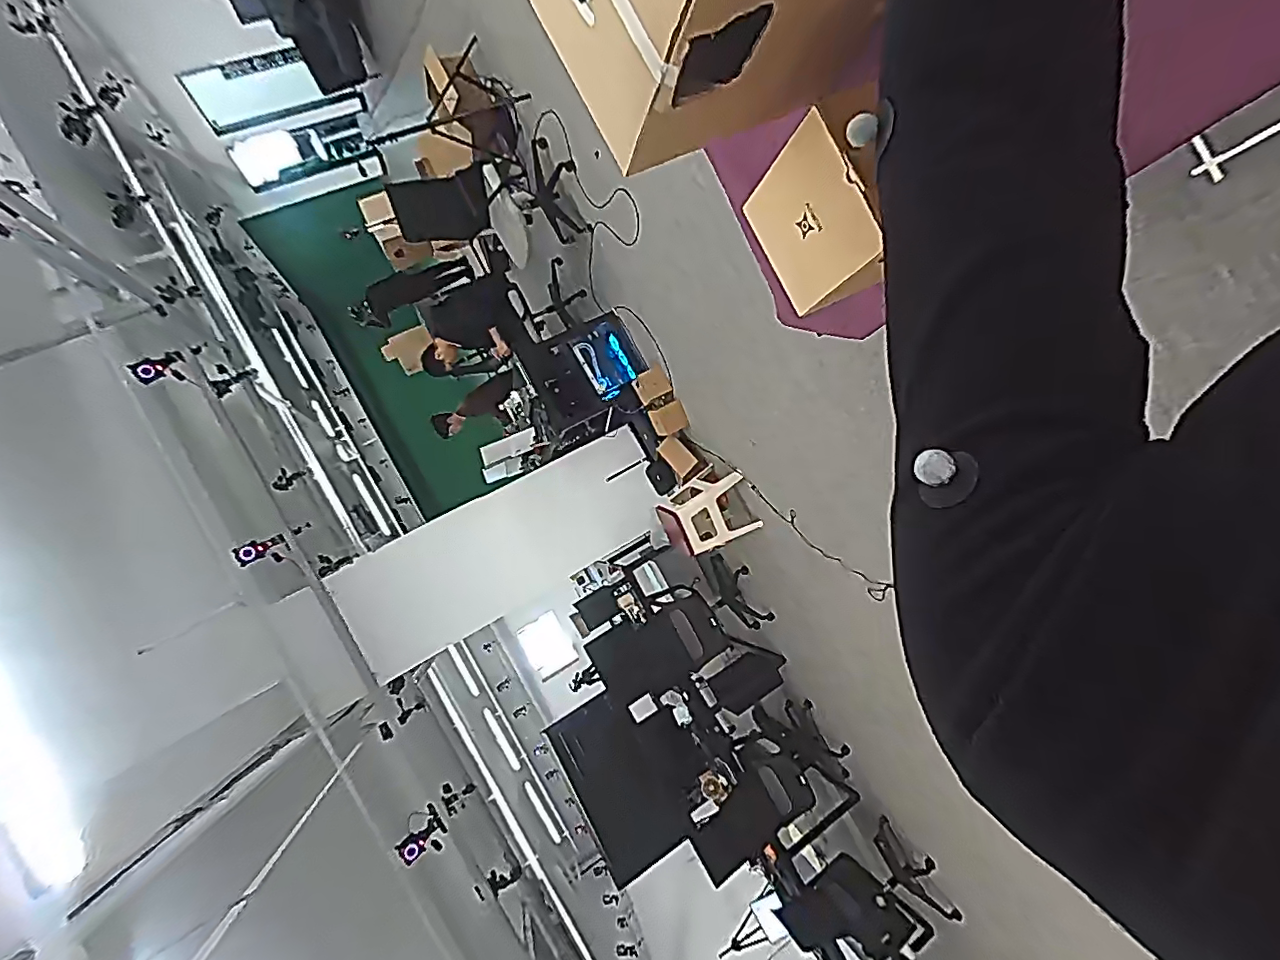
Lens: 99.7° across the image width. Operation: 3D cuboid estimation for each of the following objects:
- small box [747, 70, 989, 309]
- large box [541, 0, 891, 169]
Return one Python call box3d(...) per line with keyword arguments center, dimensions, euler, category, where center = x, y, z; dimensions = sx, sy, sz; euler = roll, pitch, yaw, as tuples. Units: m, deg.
box3d(center=(0.266, -0.342, 0.655), dimensions=(0.168, 0.176, 0.179), euler=(62, 164, 1), category="small box")
box3d(center=(0.061, -0.629, 0.535), dimensions=(0.408, 0.320, 0.320), euler=(59, 165, -3), category="large box")
